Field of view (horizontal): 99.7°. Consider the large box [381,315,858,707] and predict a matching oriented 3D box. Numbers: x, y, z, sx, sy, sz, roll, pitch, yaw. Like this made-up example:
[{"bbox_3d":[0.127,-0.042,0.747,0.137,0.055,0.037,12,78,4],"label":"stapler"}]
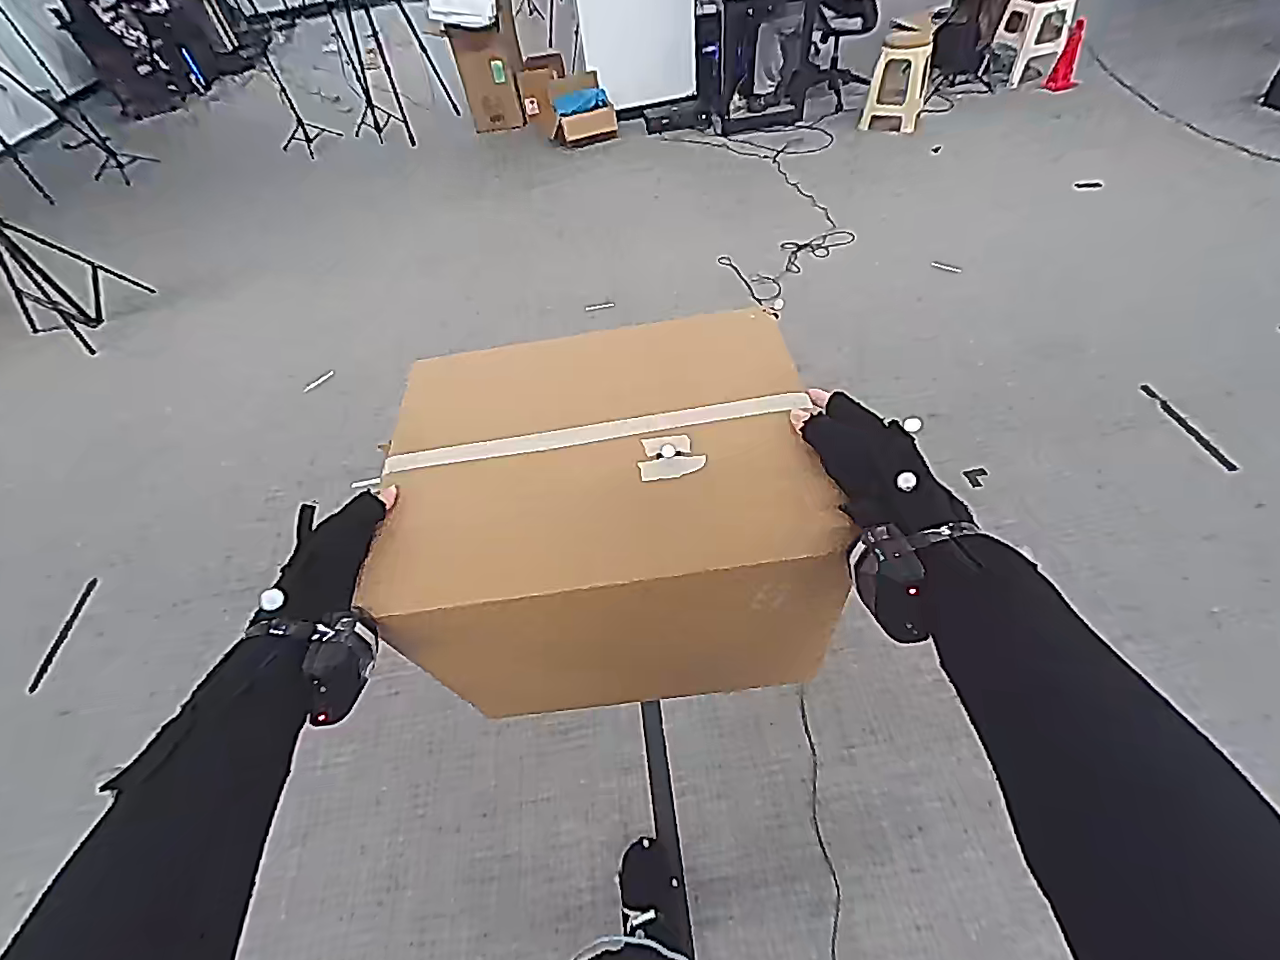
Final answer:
[{"bbox_3d":[-0.017,0.049,0.645,0.408,0.320,0.320,-8,52,2],"label":"large box"}]
